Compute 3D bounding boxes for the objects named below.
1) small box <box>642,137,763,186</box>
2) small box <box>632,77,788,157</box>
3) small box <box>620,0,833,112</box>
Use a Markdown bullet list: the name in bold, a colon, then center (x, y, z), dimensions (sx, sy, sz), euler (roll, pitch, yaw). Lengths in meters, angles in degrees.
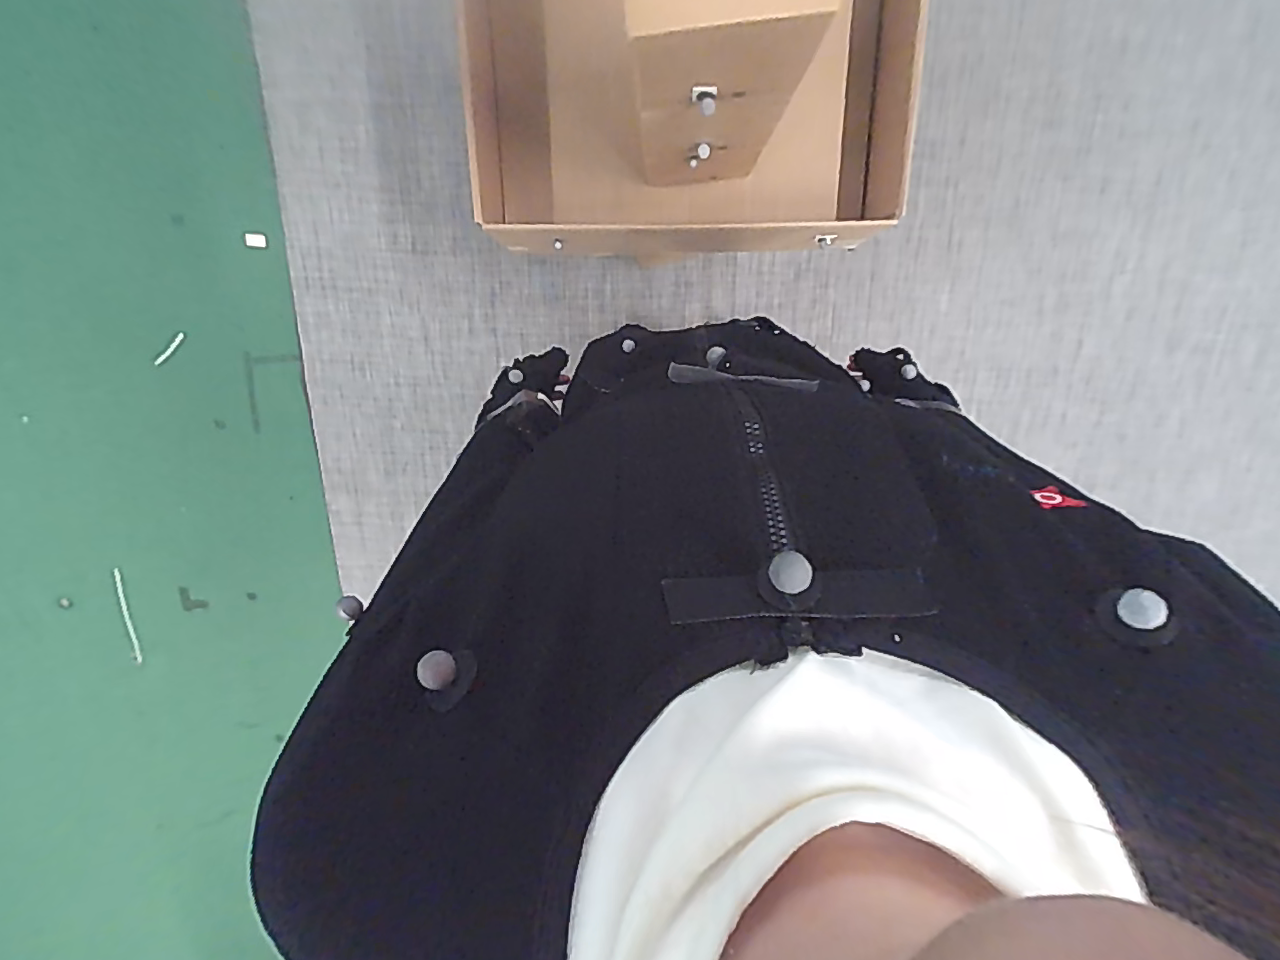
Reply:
- **small box**: center (0.082, -0.552, 0.785), dimensions (0.168, 0.176, 0.179), euler (-4, 105, 5)
- **small box**: center (0.072, -0.504, 0.629), dimensions (0.168, 0.176, 0.179), euler (-4, 106, 4)
- **small box**: center (0.065, -0.460, 0.474), dimensions (0.168, 0.176, 0.179), euler (-4, 106, 5)
